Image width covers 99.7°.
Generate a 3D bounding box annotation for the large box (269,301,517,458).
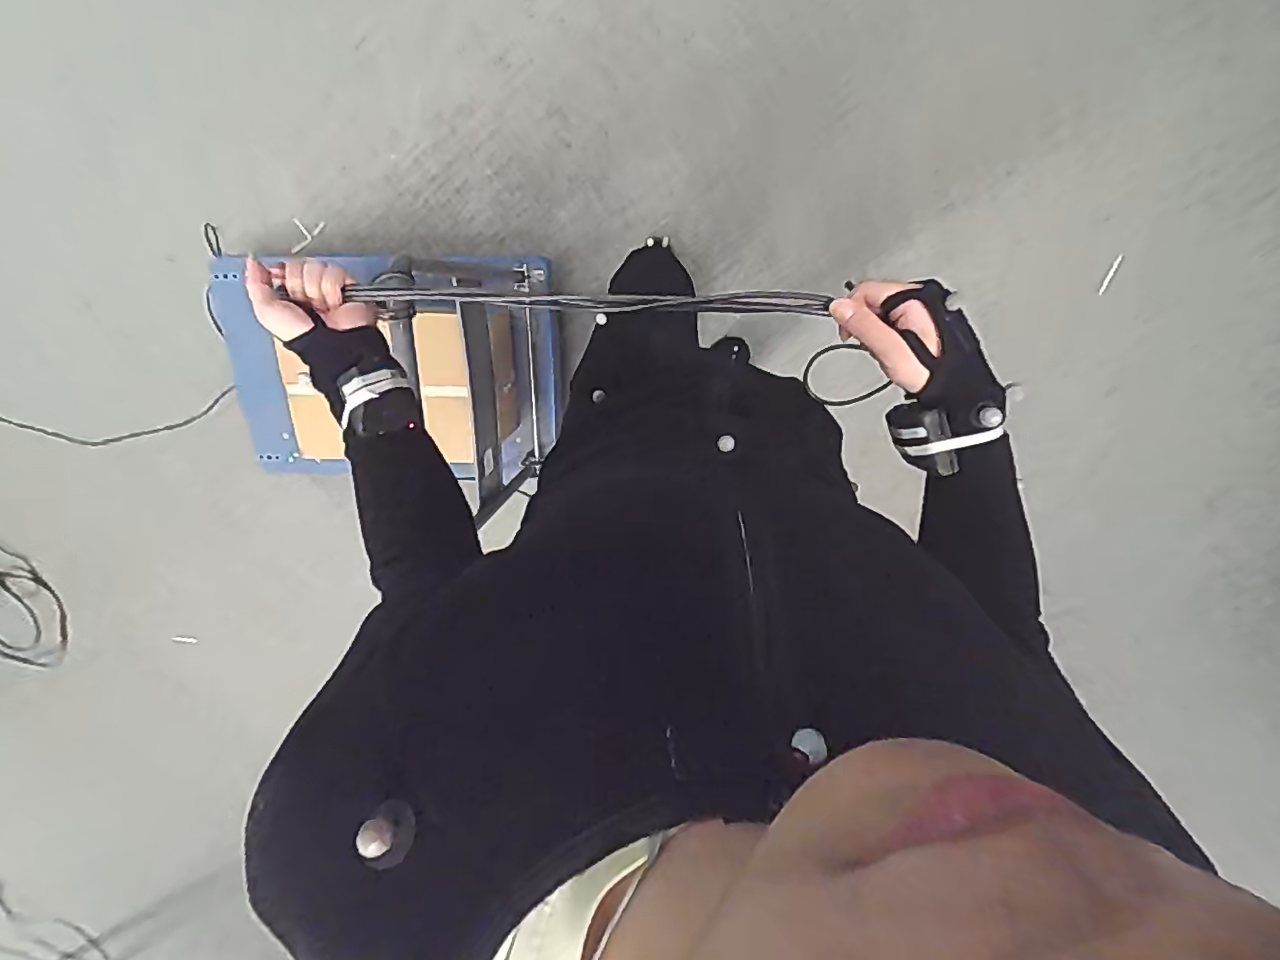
[{"bbox_3d":[-0.533,-0.247,1.255,0.408,0.320,0.320,2,109,4],"label":"large box"}]
